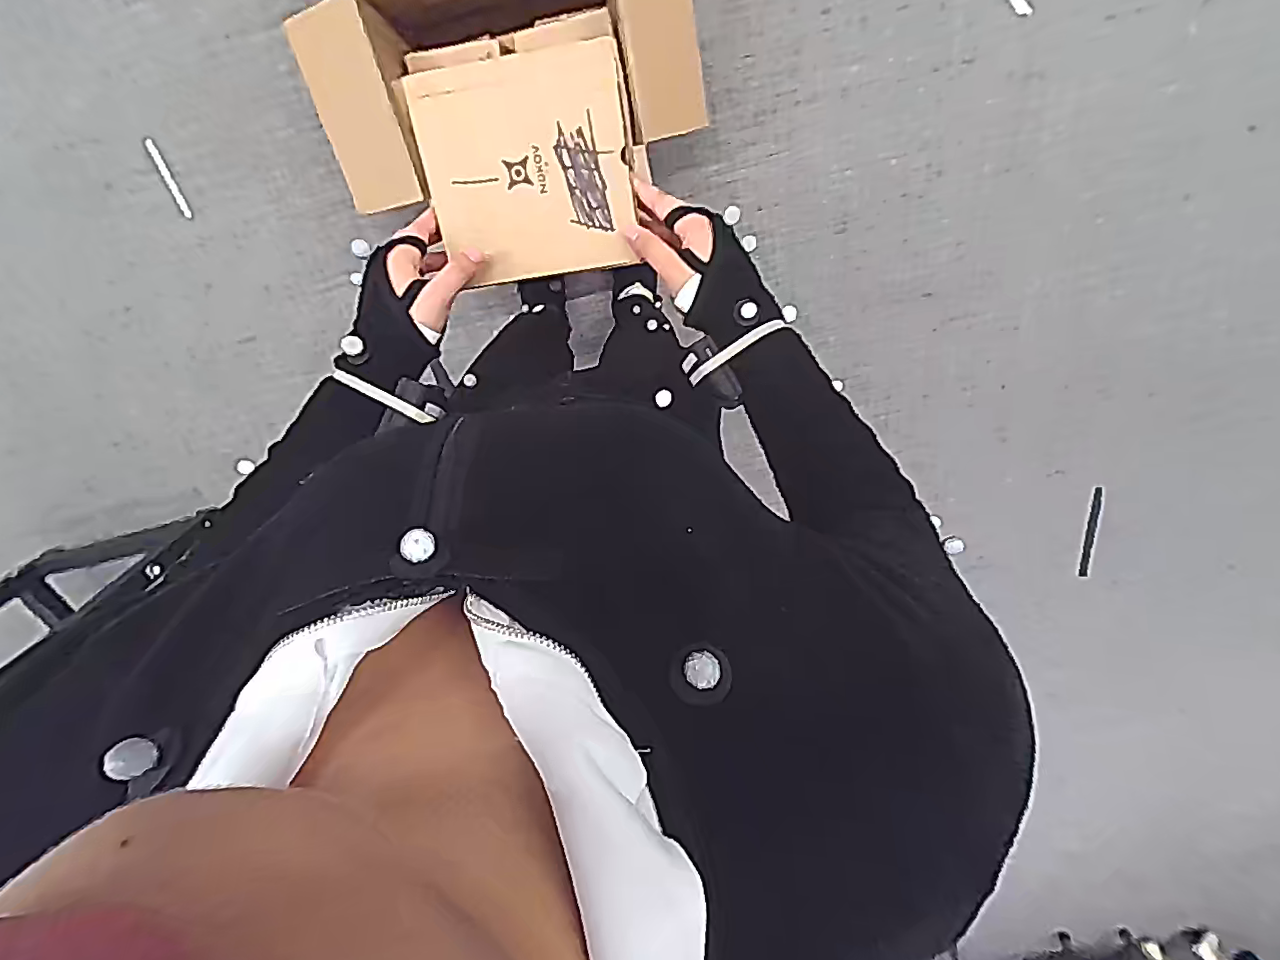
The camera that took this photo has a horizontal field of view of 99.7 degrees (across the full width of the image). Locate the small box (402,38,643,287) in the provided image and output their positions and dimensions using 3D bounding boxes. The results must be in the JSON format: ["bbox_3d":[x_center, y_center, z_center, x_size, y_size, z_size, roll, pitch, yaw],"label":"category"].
[{"bbox_3d":[-0.093,-0.292,0.530,0.179,0.176,0.168,-7,112,5],"label":"small box"}]
